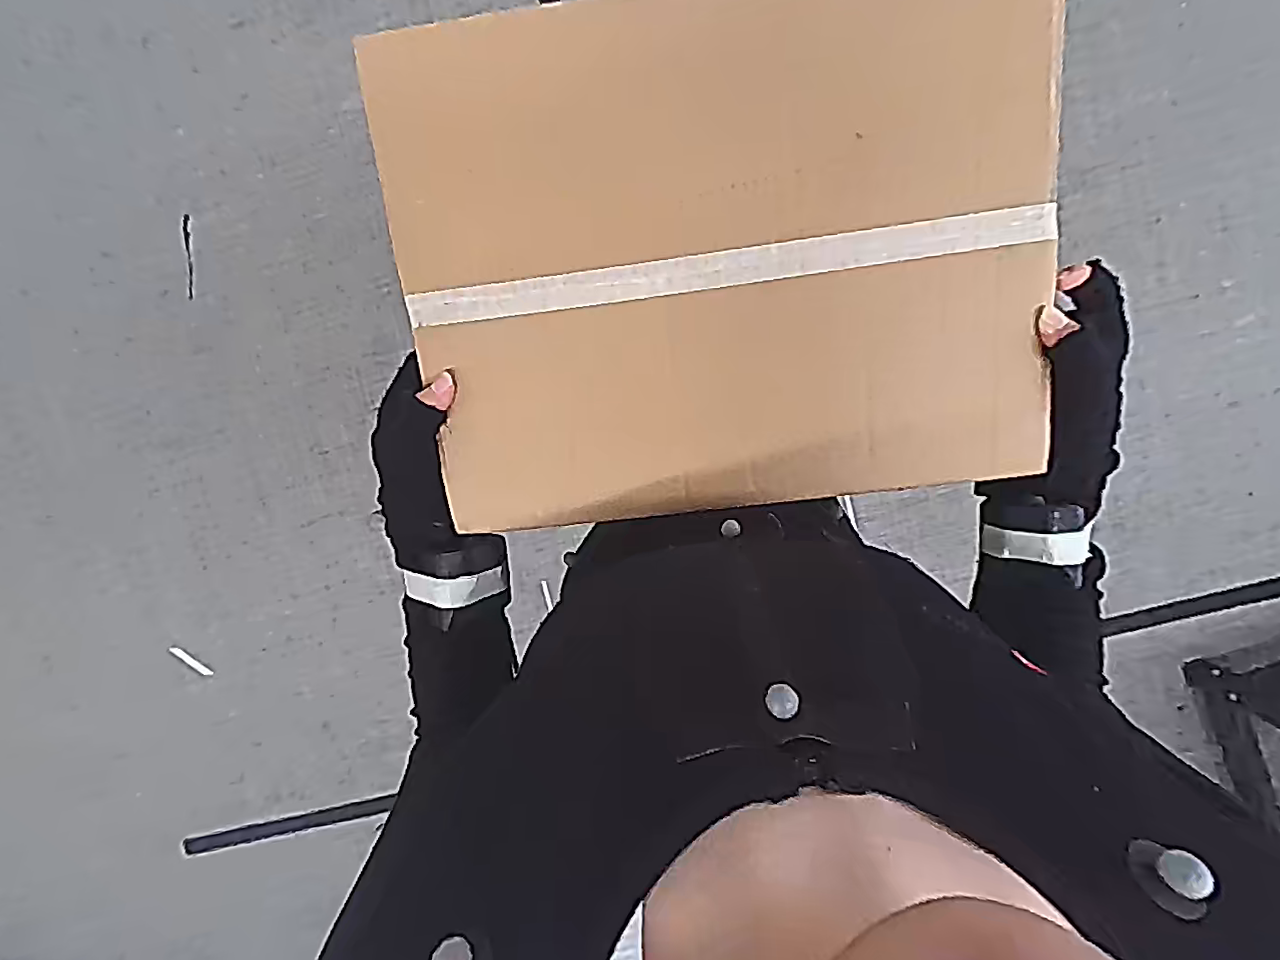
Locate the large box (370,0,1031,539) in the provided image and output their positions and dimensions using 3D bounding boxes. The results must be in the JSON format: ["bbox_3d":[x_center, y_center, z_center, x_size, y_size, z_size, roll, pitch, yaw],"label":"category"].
[{"bbox_3d":[0.053,-0.161,0.498,0.408,0.320,0.320,-6,102,4],"label":"large box"}]
